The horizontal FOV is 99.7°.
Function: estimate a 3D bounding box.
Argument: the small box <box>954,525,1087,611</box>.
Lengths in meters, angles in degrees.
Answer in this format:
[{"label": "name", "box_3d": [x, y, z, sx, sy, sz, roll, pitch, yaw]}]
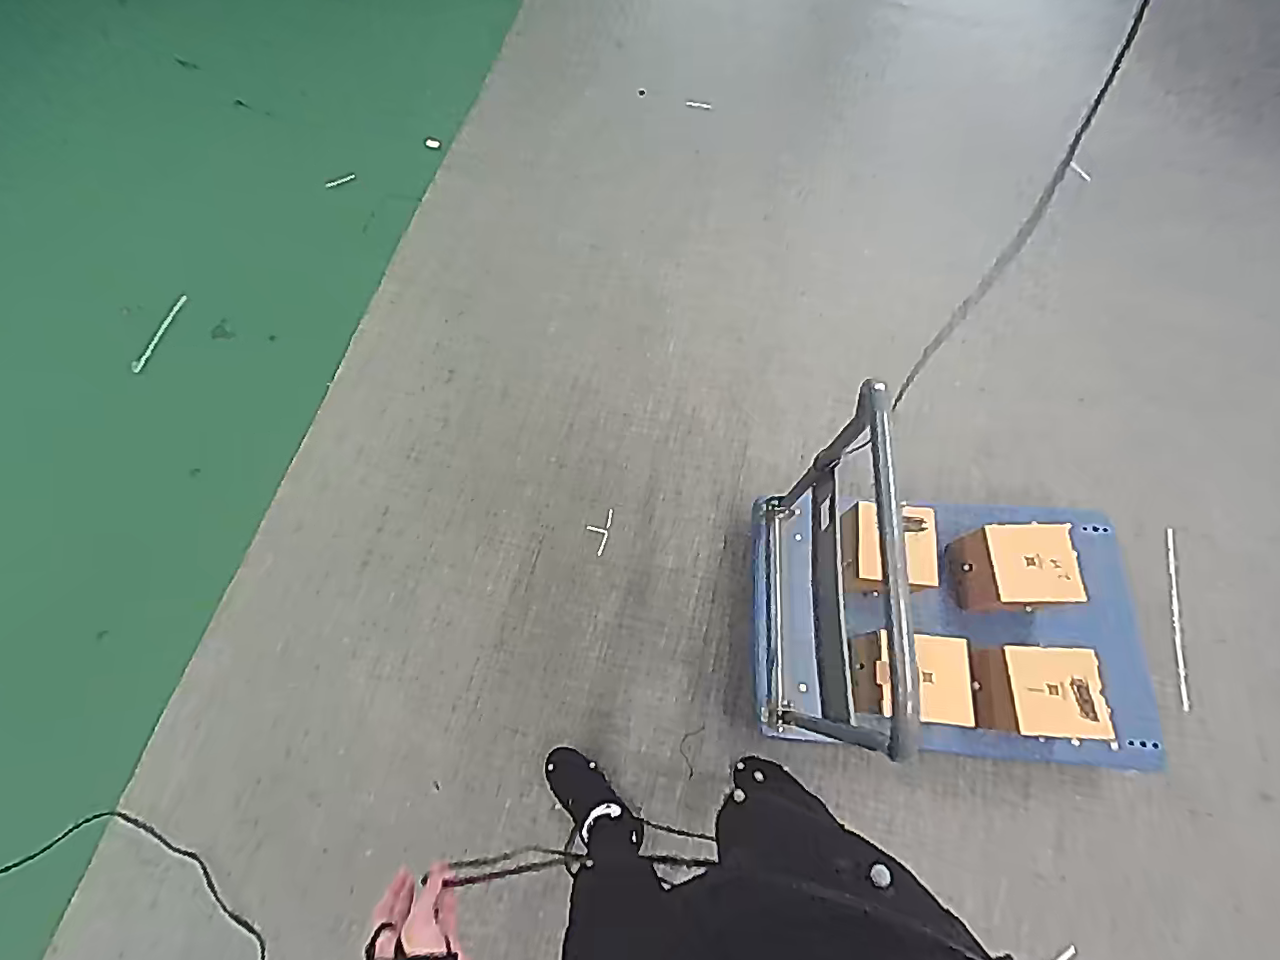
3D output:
[{"label": "small box", "box_3d": [0.834, 0.201, 1.212, 0.179, 0.176, 0.168, 0, 70, 2]}]

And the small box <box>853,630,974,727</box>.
[{"label": "small box", "box_3d": [0.568, 0.417, 1.145, 0.179, 0.176, 0.168, 5, 70, 5]}]

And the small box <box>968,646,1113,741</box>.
[{"label": "small box", "box_3d": [0.816, 0.439, 1.125, 0.179, 0.176, 0.168, 2, 69, 4]}]
